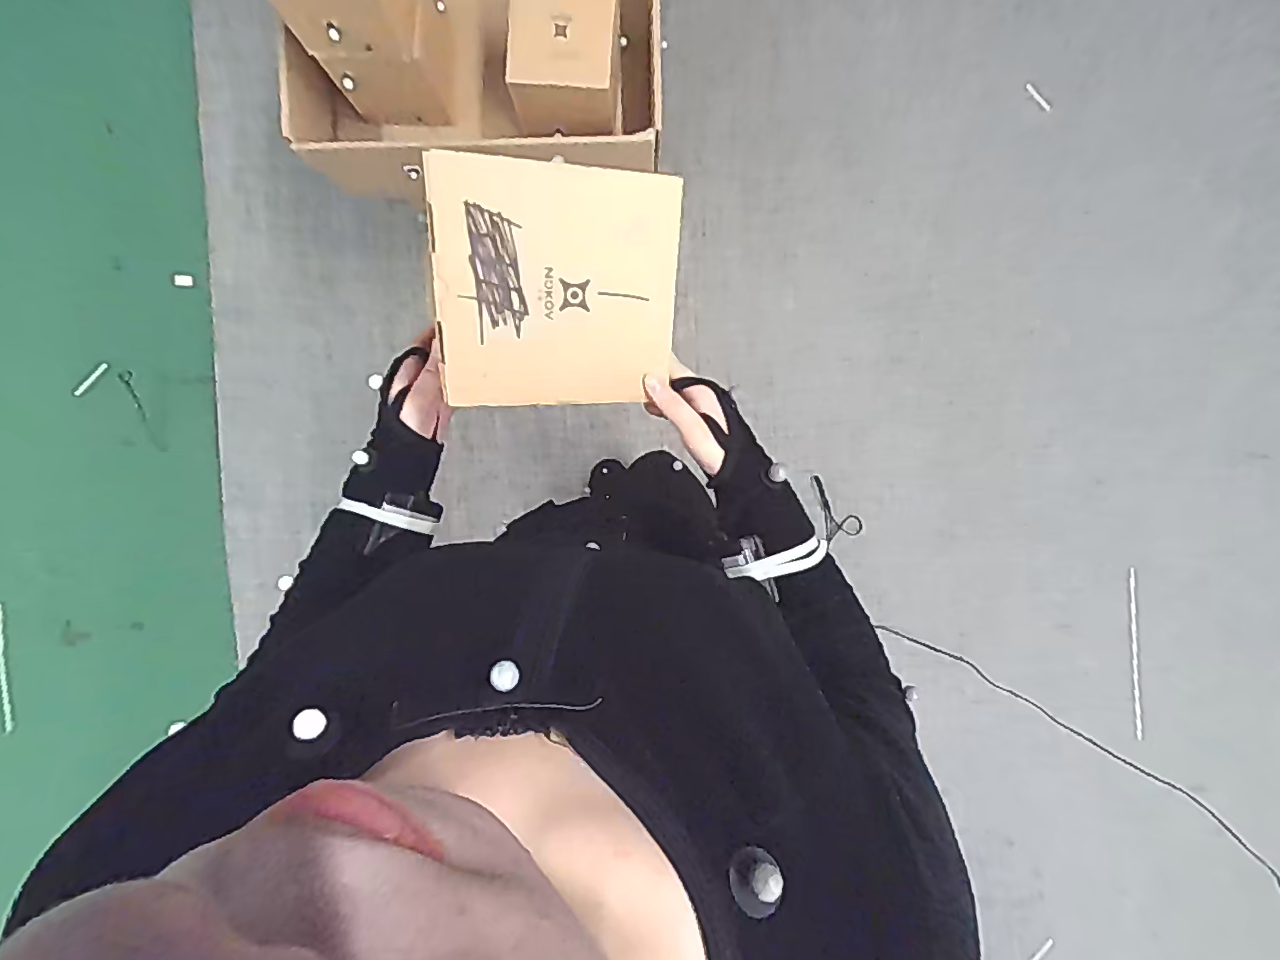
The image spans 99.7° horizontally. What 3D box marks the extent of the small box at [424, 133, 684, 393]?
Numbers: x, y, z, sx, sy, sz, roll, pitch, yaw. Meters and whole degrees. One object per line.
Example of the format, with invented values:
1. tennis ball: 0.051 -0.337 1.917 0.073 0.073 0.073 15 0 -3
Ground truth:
1. small box: -0.080 -0.173 0.460 0.179 0.176 0.168 -3 113 -18

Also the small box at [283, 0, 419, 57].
1. small box: -0.420 -0.745 0.752 0.168 0.176 0.179 5 92 0
